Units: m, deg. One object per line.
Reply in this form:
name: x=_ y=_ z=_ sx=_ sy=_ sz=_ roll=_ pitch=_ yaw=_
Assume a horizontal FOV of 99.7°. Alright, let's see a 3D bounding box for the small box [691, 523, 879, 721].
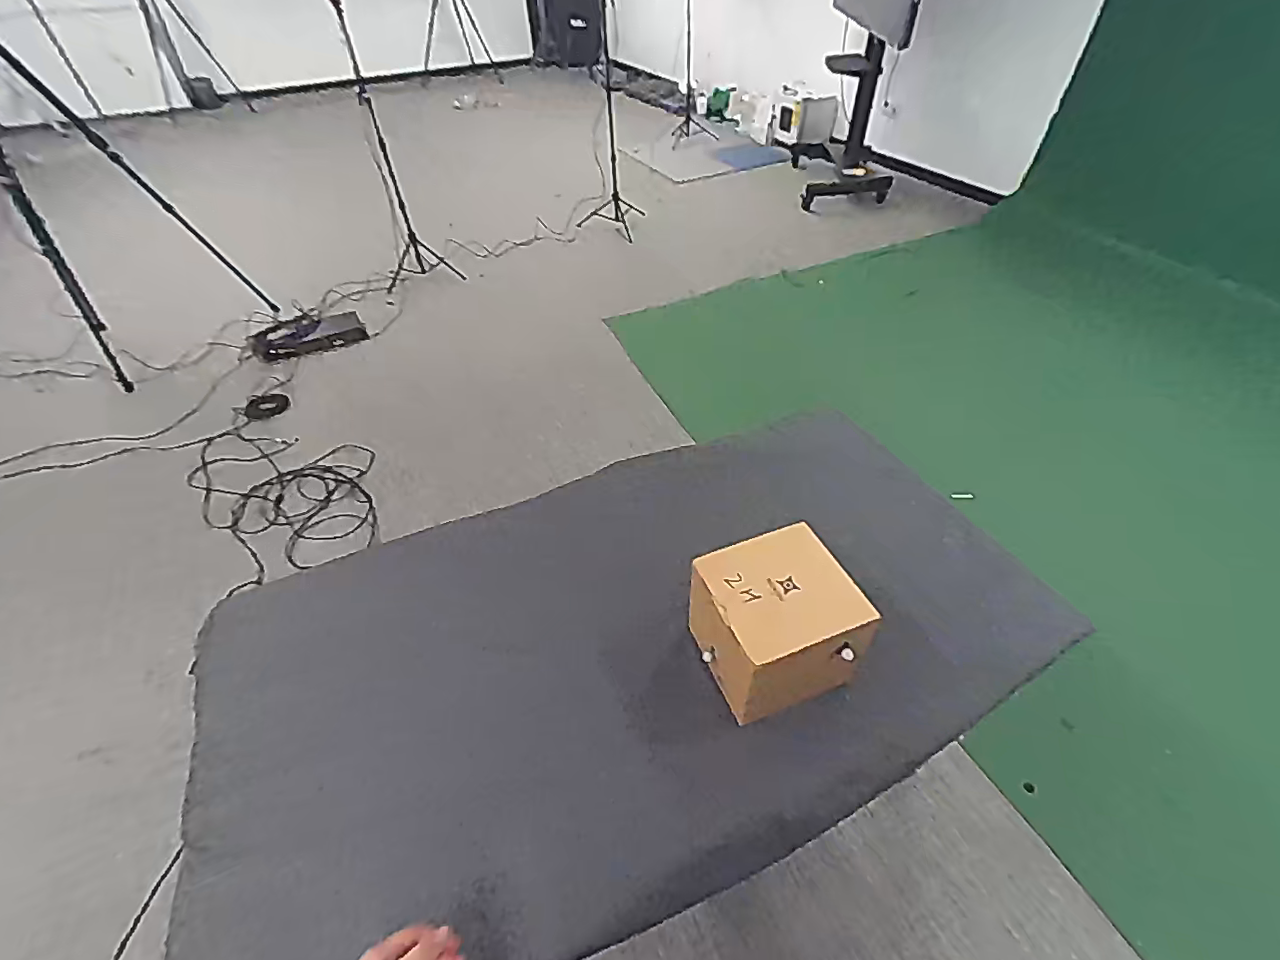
small box: x=0.179 y=0.191 z=0.728 sx=0.179 sy=0.176 sz=0.168 roll=-17 pitch=46 yaw=-13
